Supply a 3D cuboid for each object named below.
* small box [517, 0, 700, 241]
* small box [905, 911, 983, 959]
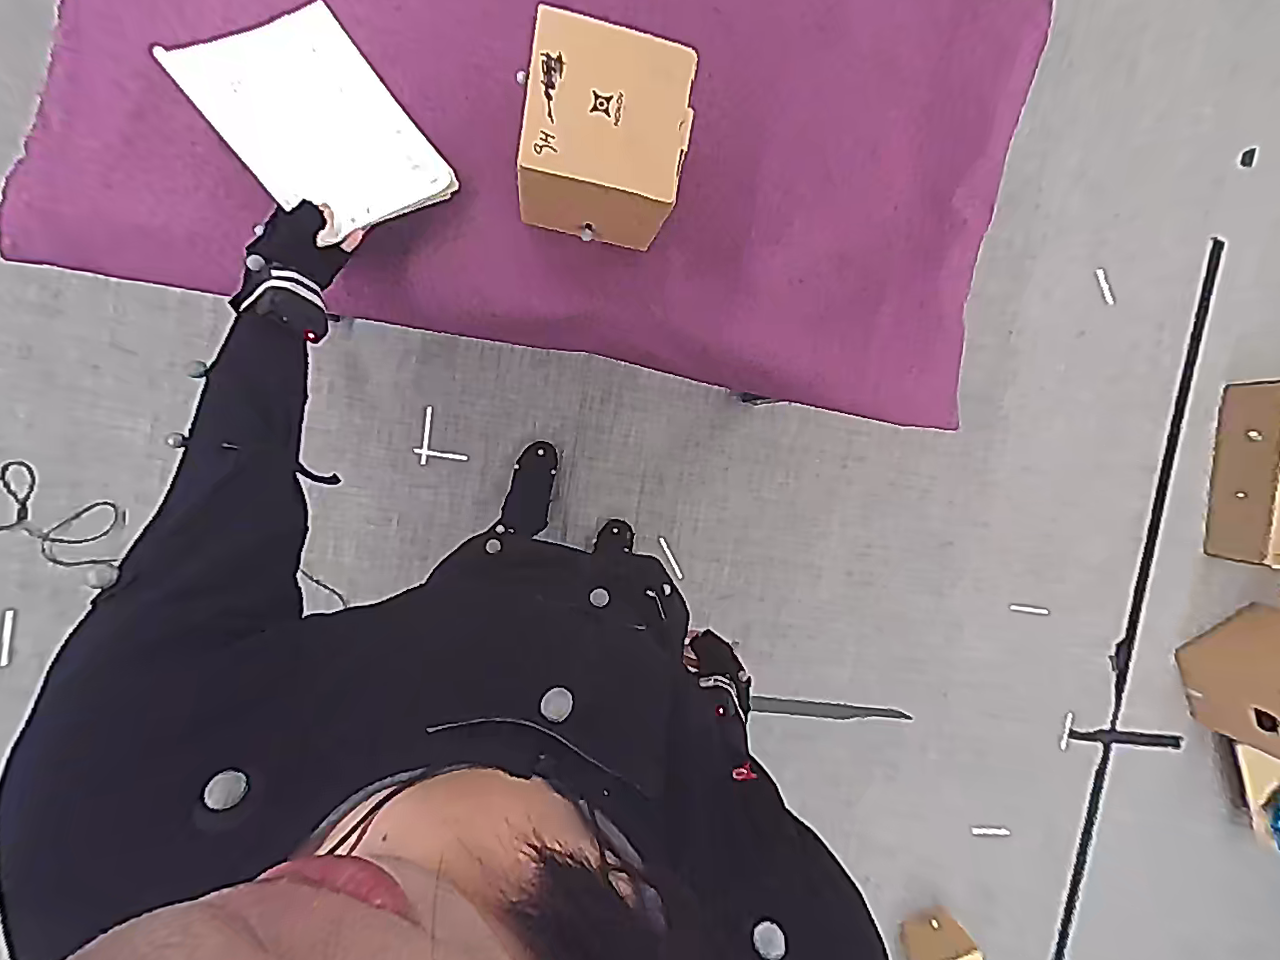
[{"bbox_3d":[-0.047,-0.409,0.650,0.179,0.176,0.168,8,93,-12],"label":"small box"},{"bbox_3d":[1.012,1.596,1.793,0.168,0.176,0.179,-14,97,-9],"label":"small box"}]
